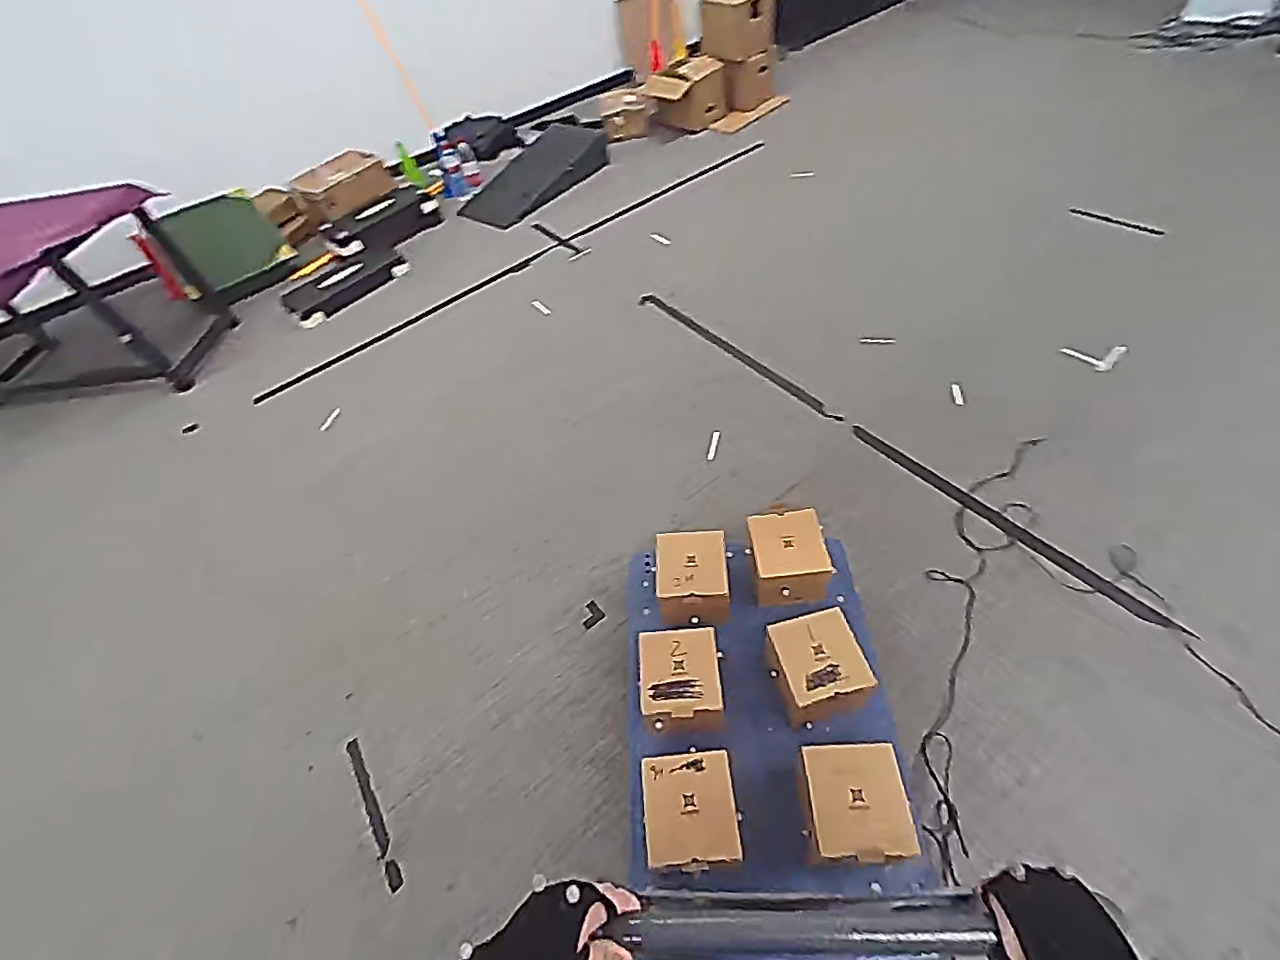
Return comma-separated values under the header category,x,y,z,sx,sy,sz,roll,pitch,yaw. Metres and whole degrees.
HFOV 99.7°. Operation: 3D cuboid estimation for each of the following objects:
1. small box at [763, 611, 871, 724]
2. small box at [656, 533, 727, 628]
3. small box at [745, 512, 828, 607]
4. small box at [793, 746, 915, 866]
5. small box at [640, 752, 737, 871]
category,x,y,z,sx,sy,sz,roll,pitch,yaw
small box,0.376,0.416,1.181,0.168,0.176,0.179,-14,50,-2
small box,0.129,0.252,1.350,0.168,0.176,0.179,-4,51,7
small box,0.358,0.206,1.353,0.168,0.176,0.179,-7,51,4
small box,0.390,0.616,1.018,0.168,0.176,0.179,-4,50,6
small box,0.094,0.644,1.043,0.168,0.176,0.179,-7,51,3
